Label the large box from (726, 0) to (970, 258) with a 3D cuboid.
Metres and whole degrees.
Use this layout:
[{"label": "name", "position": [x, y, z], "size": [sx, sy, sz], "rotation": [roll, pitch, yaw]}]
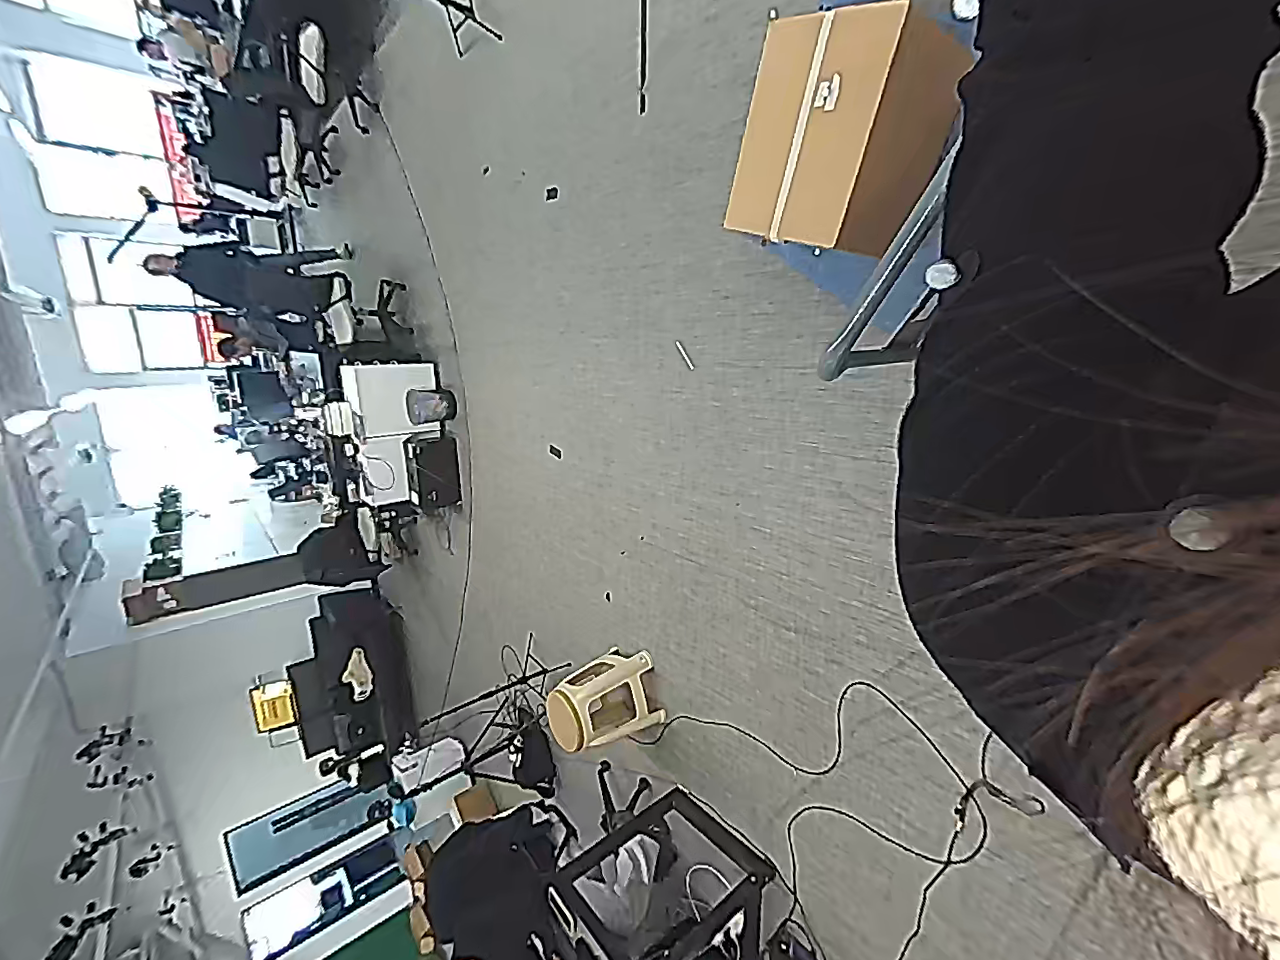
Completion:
[{"label": "large box", "position": [0.444, -0.740, 1.200], "size": [0.320, 0.320, 0.408], "rotation": [35, 124, 39]}]
